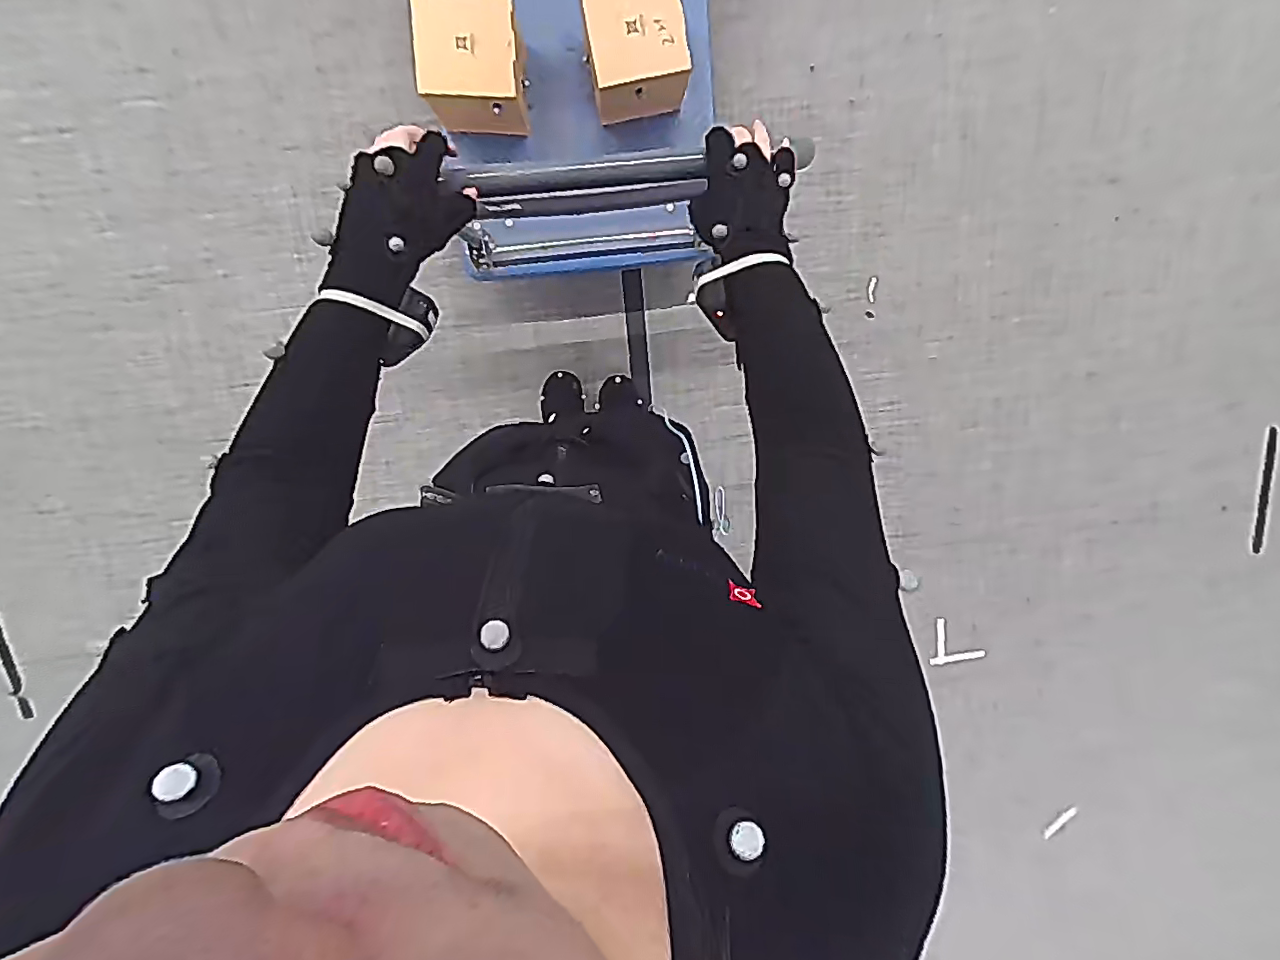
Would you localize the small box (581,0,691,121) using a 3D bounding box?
[{"bbox_3d":[-0.008,-0.823,1.040,0.179,0.176,0.168,-12,104,0],"label":"small box"}]

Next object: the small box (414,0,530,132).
[{"bbox_3d":[-0.311,-0.788,1.031,0.179,0.176,0.168,-1,103,-5],"label":"small box"}]
